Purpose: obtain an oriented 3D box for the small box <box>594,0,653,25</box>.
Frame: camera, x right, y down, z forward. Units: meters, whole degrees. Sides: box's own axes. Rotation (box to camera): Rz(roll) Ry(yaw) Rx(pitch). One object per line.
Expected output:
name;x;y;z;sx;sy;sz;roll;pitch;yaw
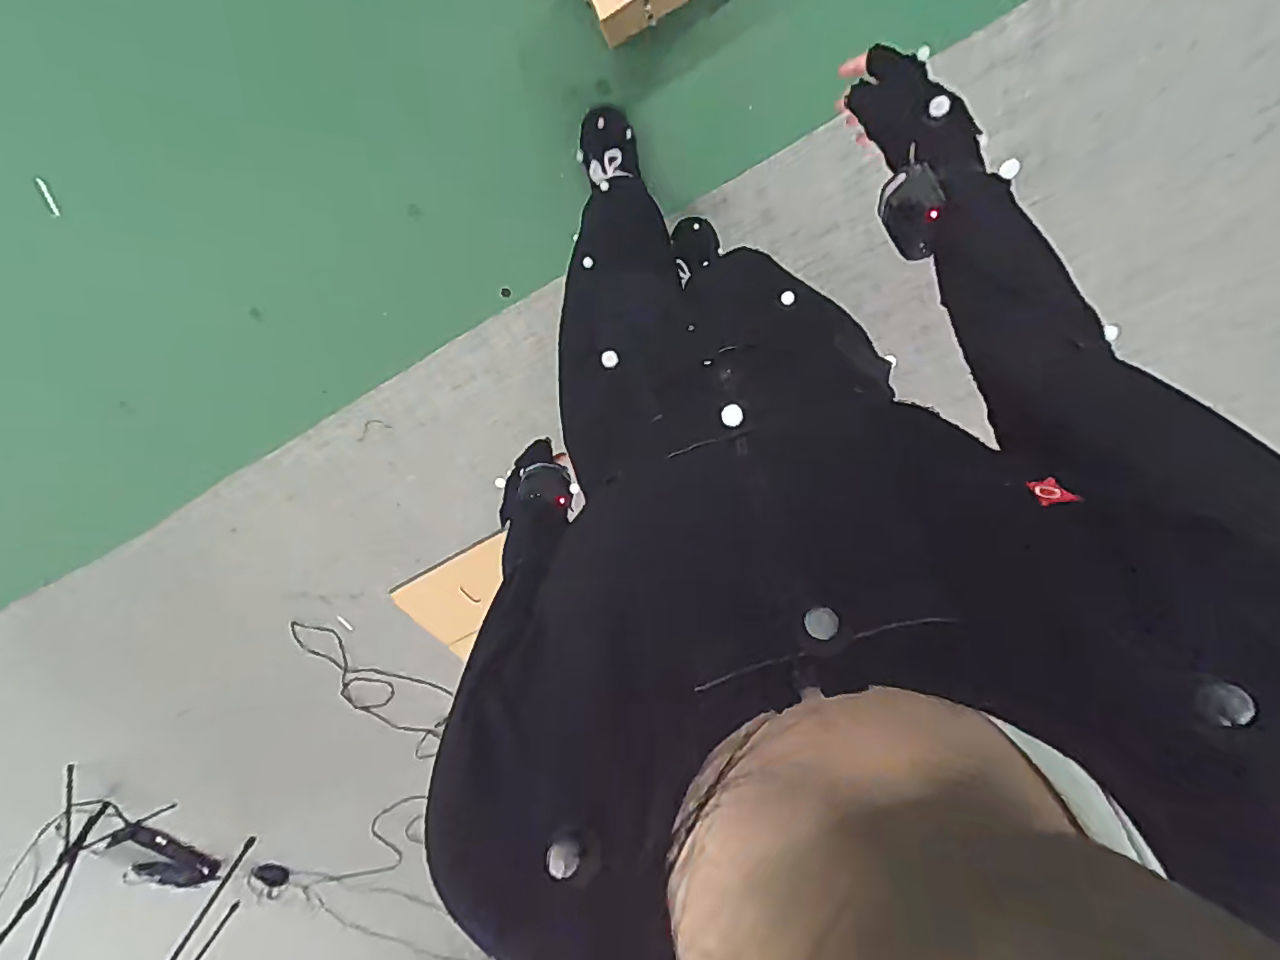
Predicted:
small box;-0.016;-0.835;0.817;0.179;0.176;0.168;-23;120;13
